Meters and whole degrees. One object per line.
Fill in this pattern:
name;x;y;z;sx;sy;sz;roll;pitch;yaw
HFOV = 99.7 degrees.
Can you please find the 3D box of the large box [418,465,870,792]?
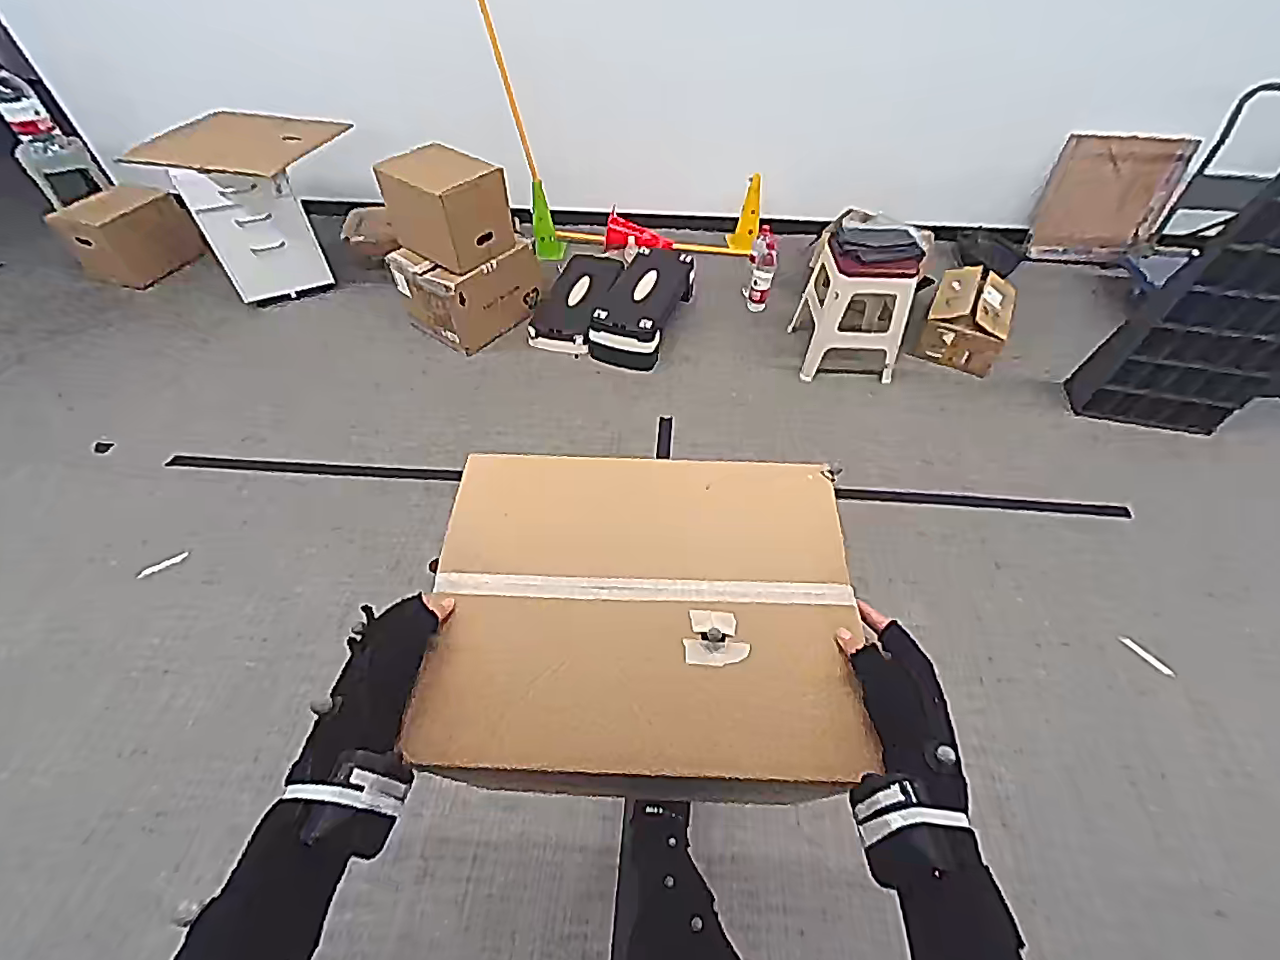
large box;0.004;0.197;0.673;0.408;0.320;0.320;2;57;1
